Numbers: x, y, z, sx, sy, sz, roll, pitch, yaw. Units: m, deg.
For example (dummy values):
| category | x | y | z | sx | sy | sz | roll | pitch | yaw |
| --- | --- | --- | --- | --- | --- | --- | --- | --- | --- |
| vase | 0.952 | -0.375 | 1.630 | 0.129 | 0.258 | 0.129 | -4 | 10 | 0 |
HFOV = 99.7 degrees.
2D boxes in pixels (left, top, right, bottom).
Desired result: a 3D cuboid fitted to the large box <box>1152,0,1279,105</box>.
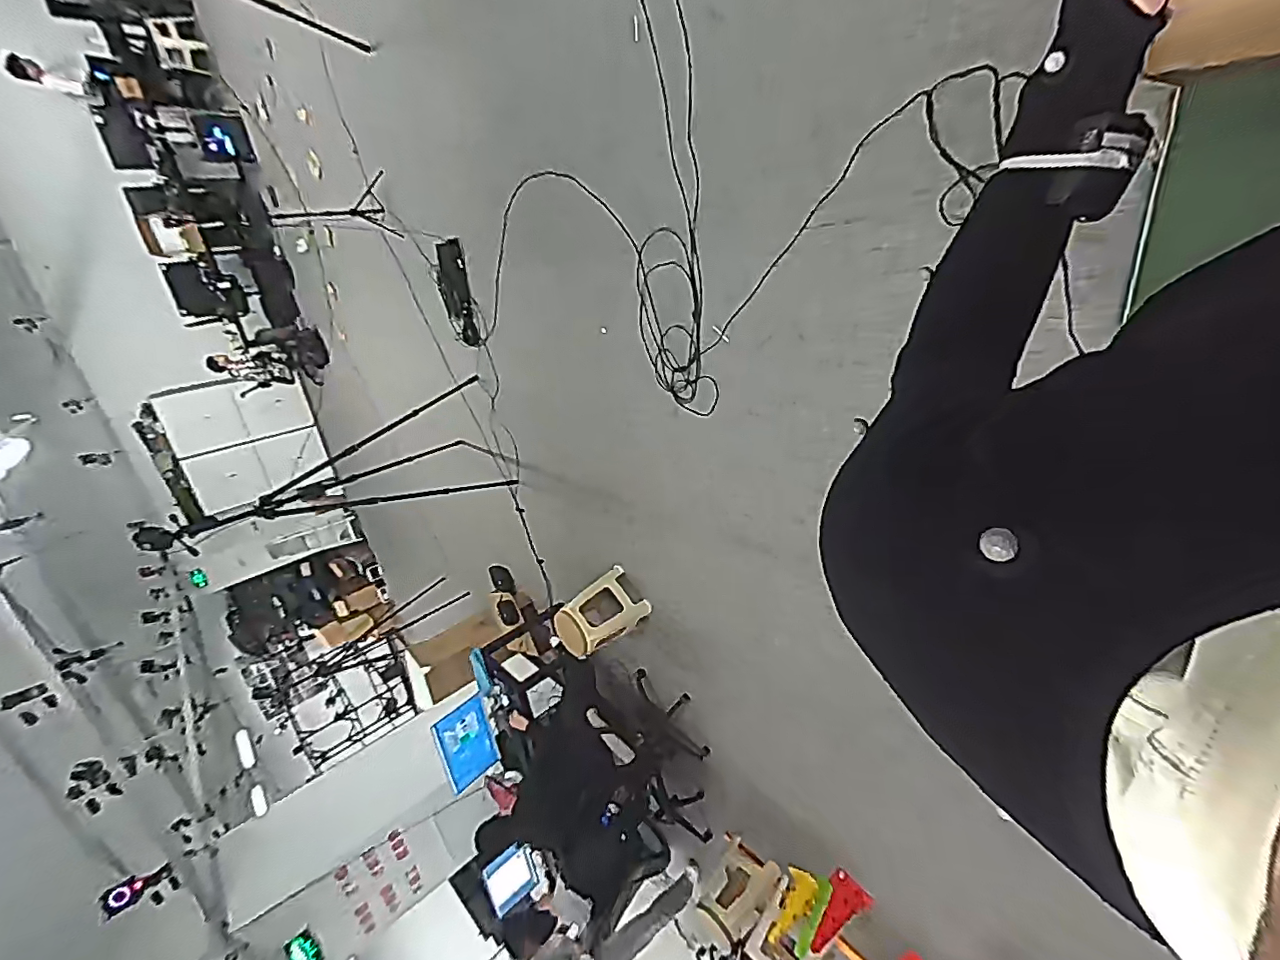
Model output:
| category | x | y | z | sx | sy | sz | roll | pitch | yaw |
| --- | --- | --- | --- | --- | --- | --- | --- | --- | --- |
| large box | 0.601 | -0.442 | 0.294 | 0.408 | 0.320 | 0.320 | 18 | 126 | 44 |
